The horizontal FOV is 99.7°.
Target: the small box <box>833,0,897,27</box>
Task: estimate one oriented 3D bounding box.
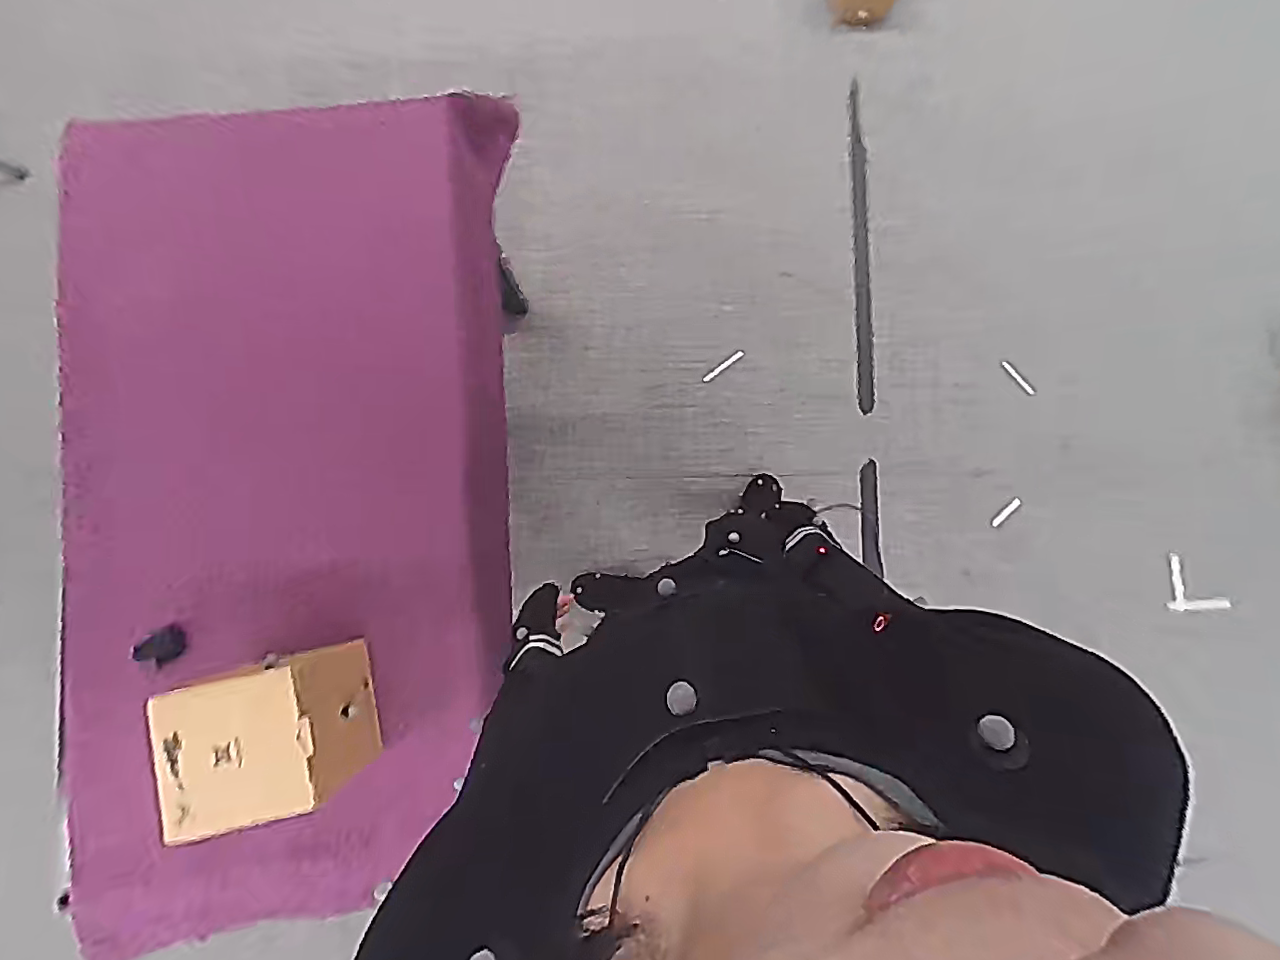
[{"bbox_3d":[0.685,-1.513,1.618,0.168,0.176,0.179,-1,85,1],"label":"small box"}]

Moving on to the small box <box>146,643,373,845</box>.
[{"bbox_3d":[-0.467,0.320,0.695,0.179,0.176,0.168,-13,84,-2],"label":"small box"}]
